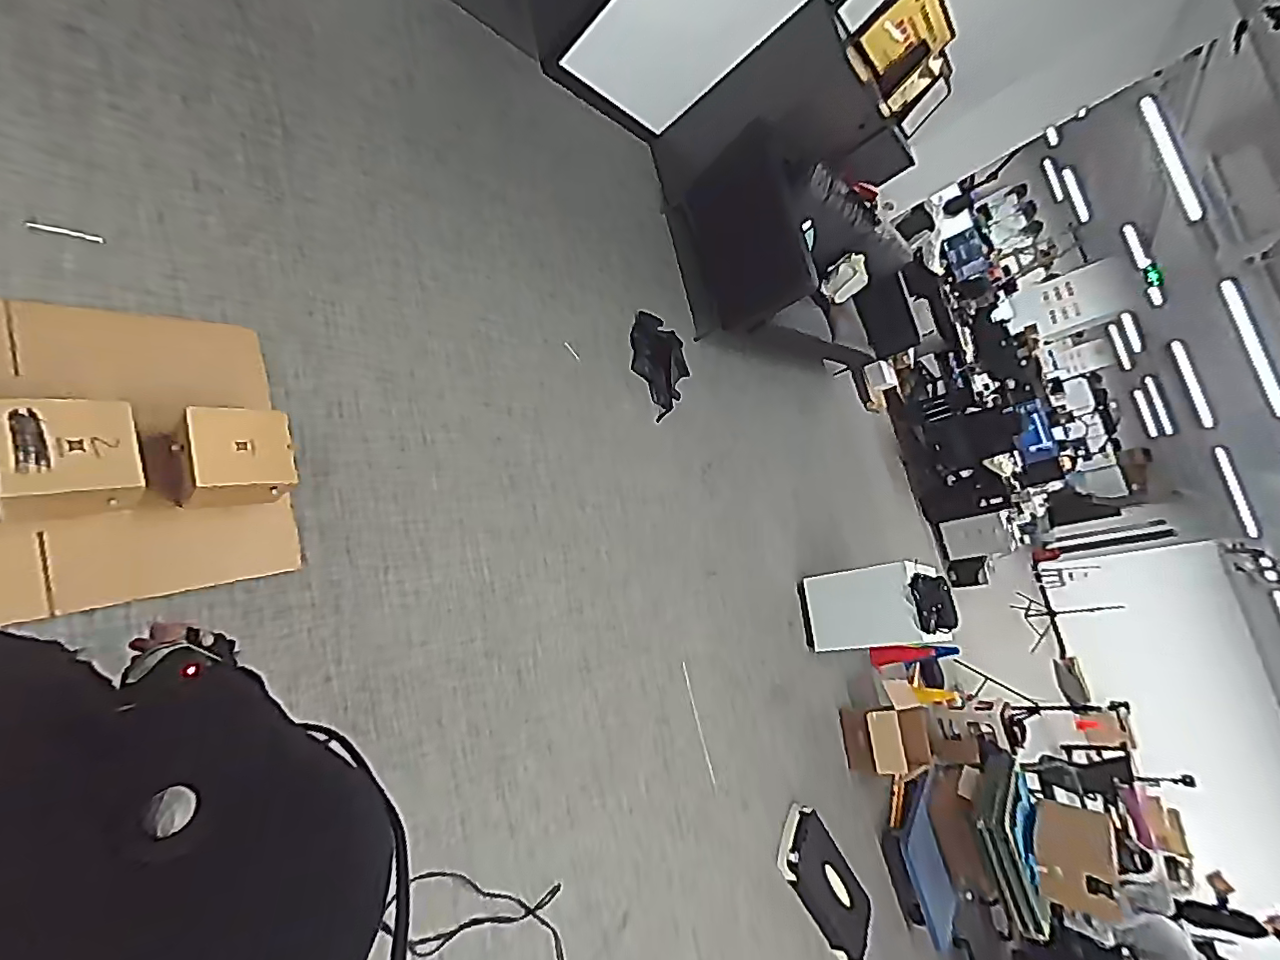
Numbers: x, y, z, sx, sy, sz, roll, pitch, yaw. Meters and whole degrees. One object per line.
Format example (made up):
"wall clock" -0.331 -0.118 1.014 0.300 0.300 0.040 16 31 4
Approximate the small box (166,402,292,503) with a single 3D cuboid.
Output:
"small box" -0.869 -0.054 1.137 0.179 0.176 0.168 -5 78 -52
